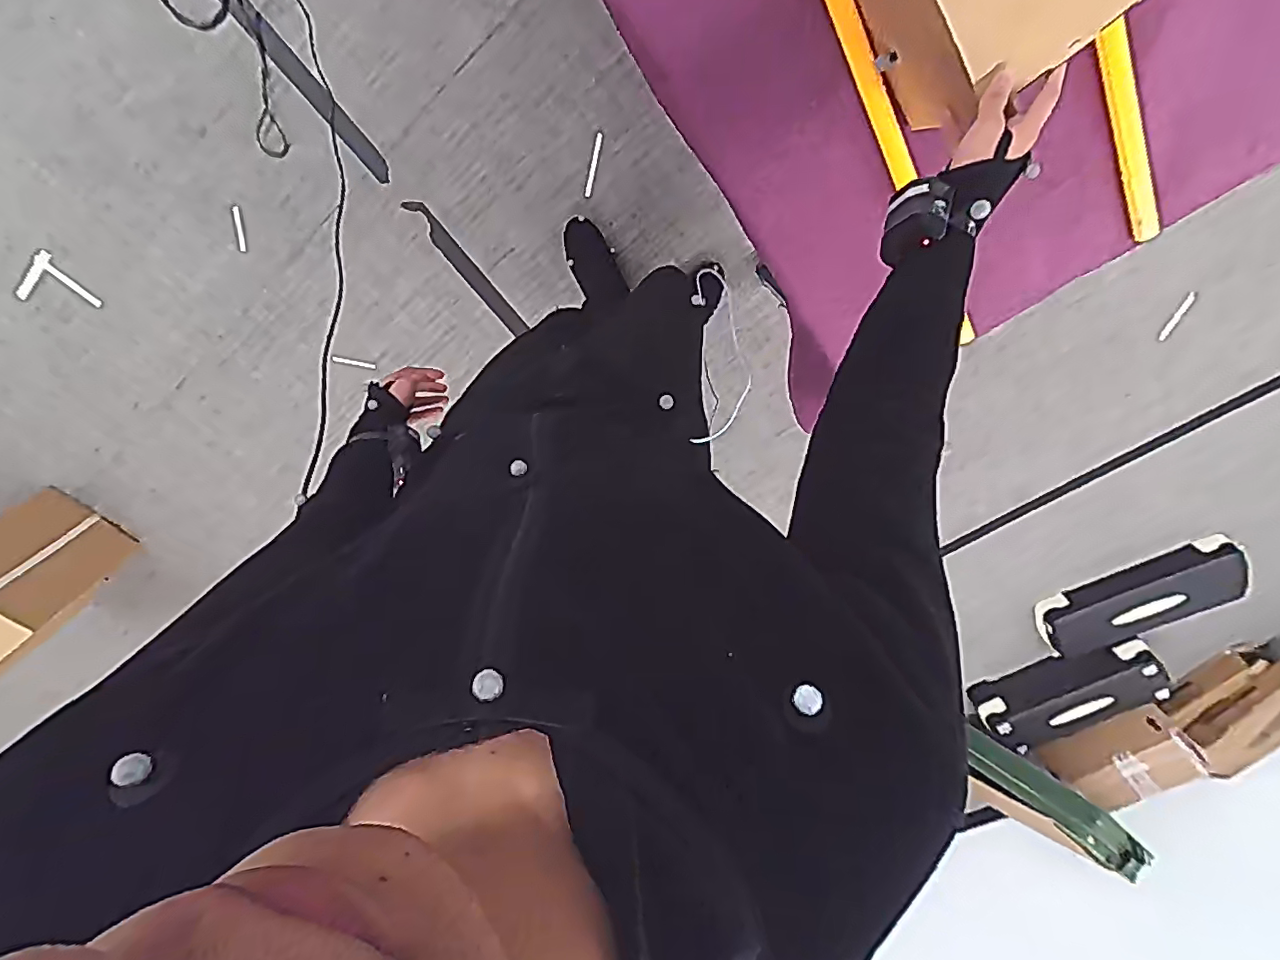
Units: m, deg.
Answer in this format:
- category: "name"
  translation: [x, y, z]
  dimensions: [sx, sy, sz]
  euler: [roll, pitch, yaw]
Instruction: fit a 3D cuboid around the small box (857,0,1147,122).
- category: "small box"
  translation: [0.333, -0.479, 0.514]
  dimensions: [0.168, 0.176, 0.179]
  euler: [-35, 115, 19]
